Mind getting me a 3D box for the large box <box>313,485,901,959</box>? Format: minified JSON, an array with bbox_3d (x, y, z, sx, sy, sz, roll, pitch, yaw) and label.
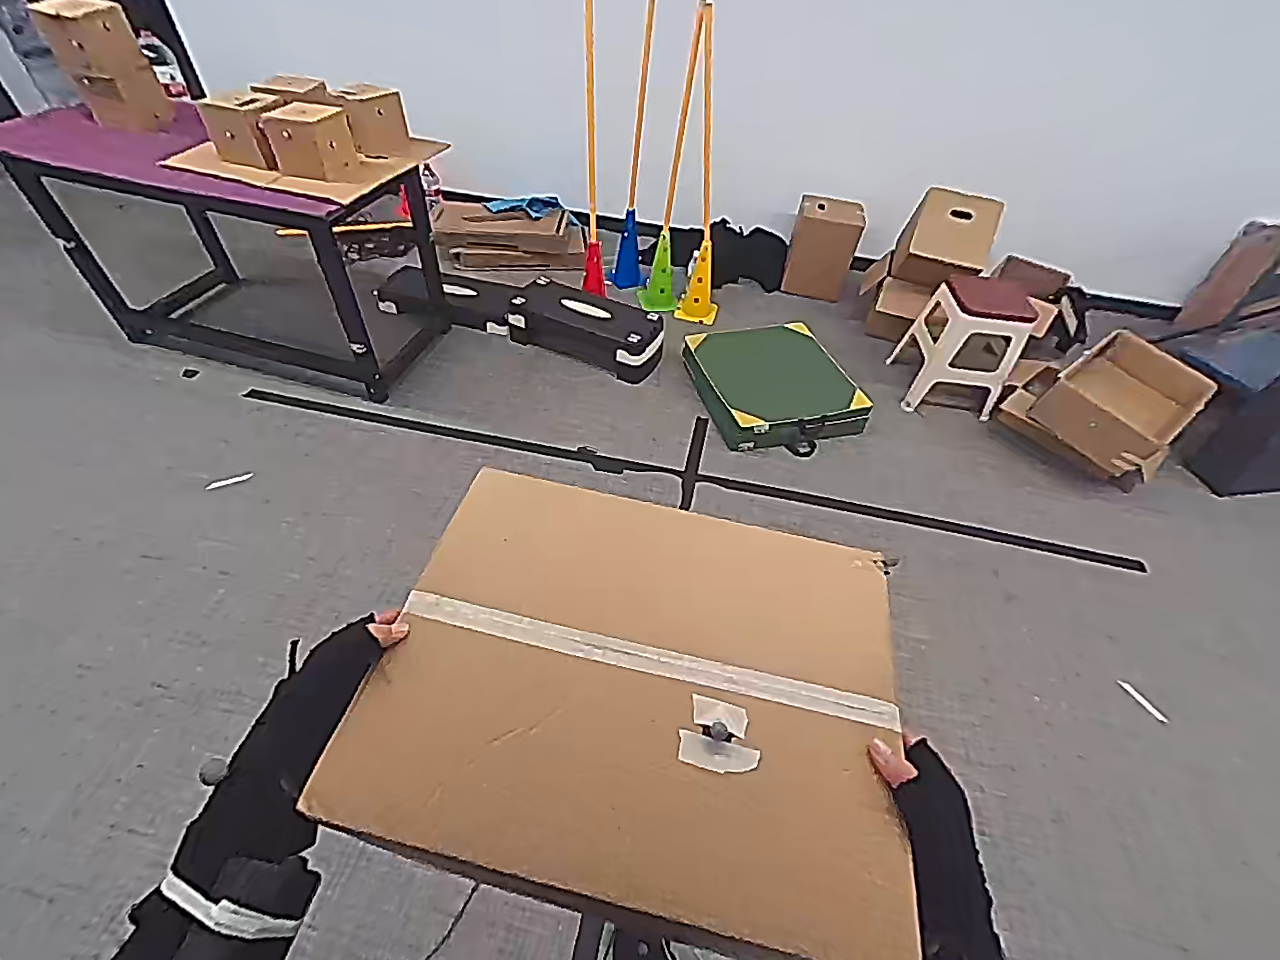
[{"bbox_3d":[-0.013,0.250,0.558,0.408,0.320,0.320,12,50,4],"label":"large box"}]
